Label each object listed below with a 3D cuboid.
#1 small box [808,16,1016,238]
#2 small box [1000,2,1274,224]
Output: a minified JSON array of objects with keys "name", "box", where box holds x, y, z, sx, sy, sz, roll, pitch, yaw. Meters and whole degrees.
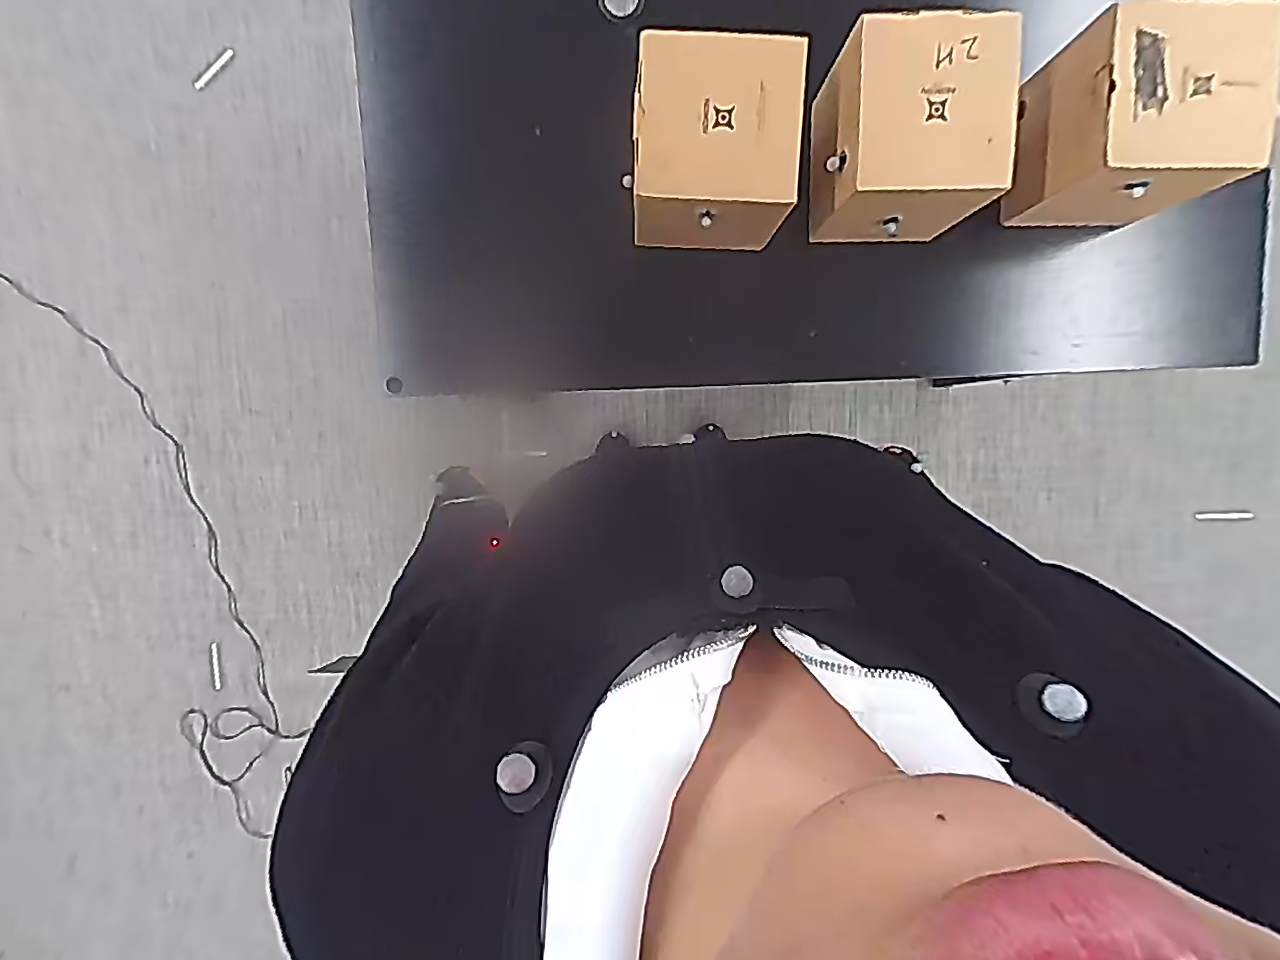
[{"name":"small box","box":[0.310,-0.405,0.651,0.168,0.176,0.179,0,96,0]},{"name":"small box","box":[0.571,-0.420,0.648,0.179,0.176,0.168,0,96,0]}]
